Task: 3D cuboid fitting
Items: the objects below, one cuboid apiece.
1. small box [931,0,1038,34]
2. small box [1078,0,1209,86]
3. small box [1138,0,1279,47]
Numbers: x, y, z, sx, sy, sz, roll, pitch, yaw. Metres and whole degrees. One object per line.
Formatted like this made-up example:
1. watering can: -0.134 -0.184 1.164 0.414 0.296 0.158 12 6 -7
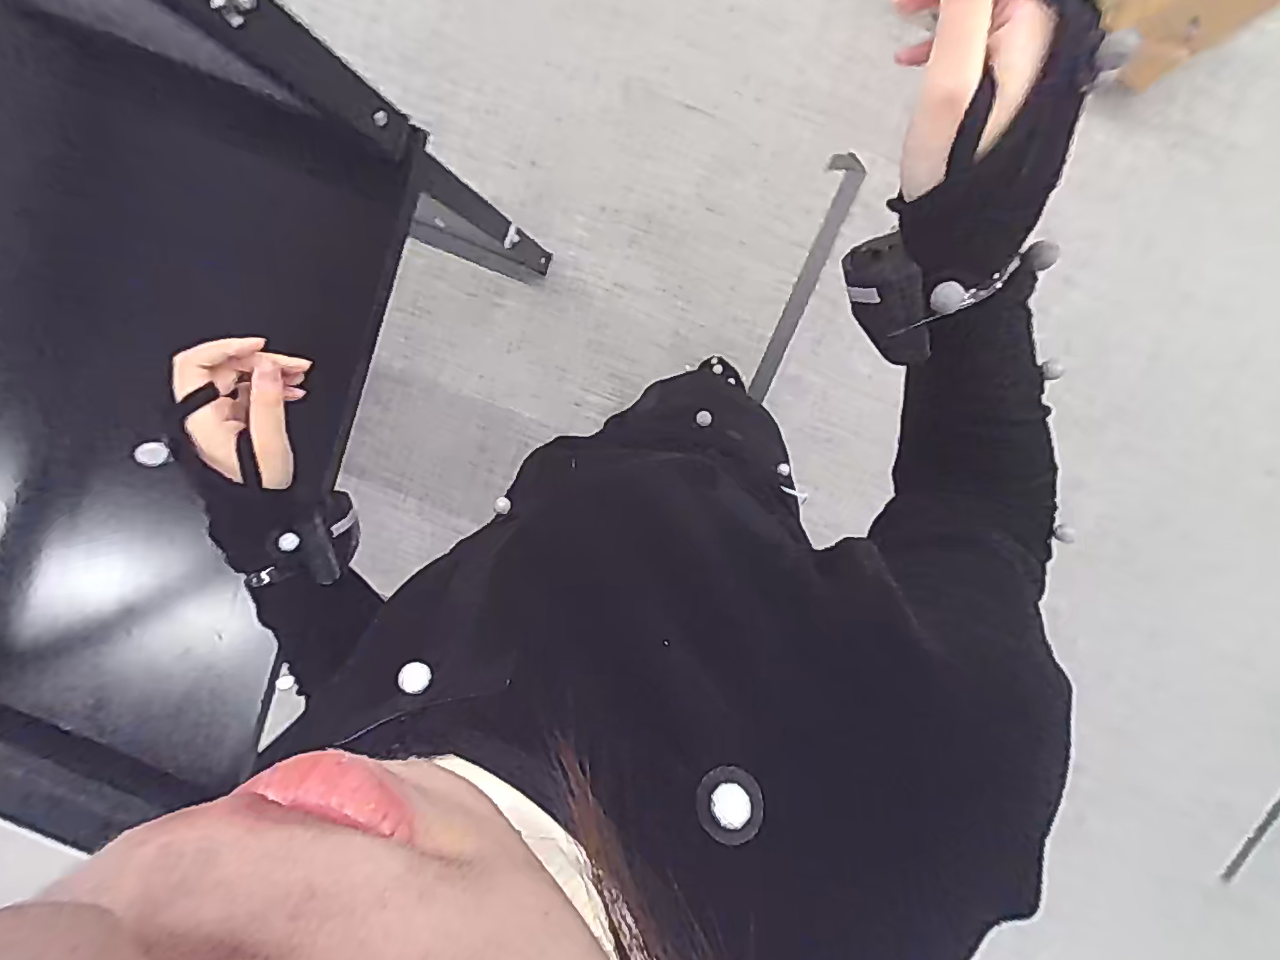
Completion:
1. small box: 0.751 -1.078 1.118 0.179 0.176 0.168 21 102 -1
2. small box: 1.067 -0.963 1.120 0.168 0.176 0.179 15 102 1
3. small box: 1.056 -0.930 0.959 0.168 0.176 0.179 16 102 1
